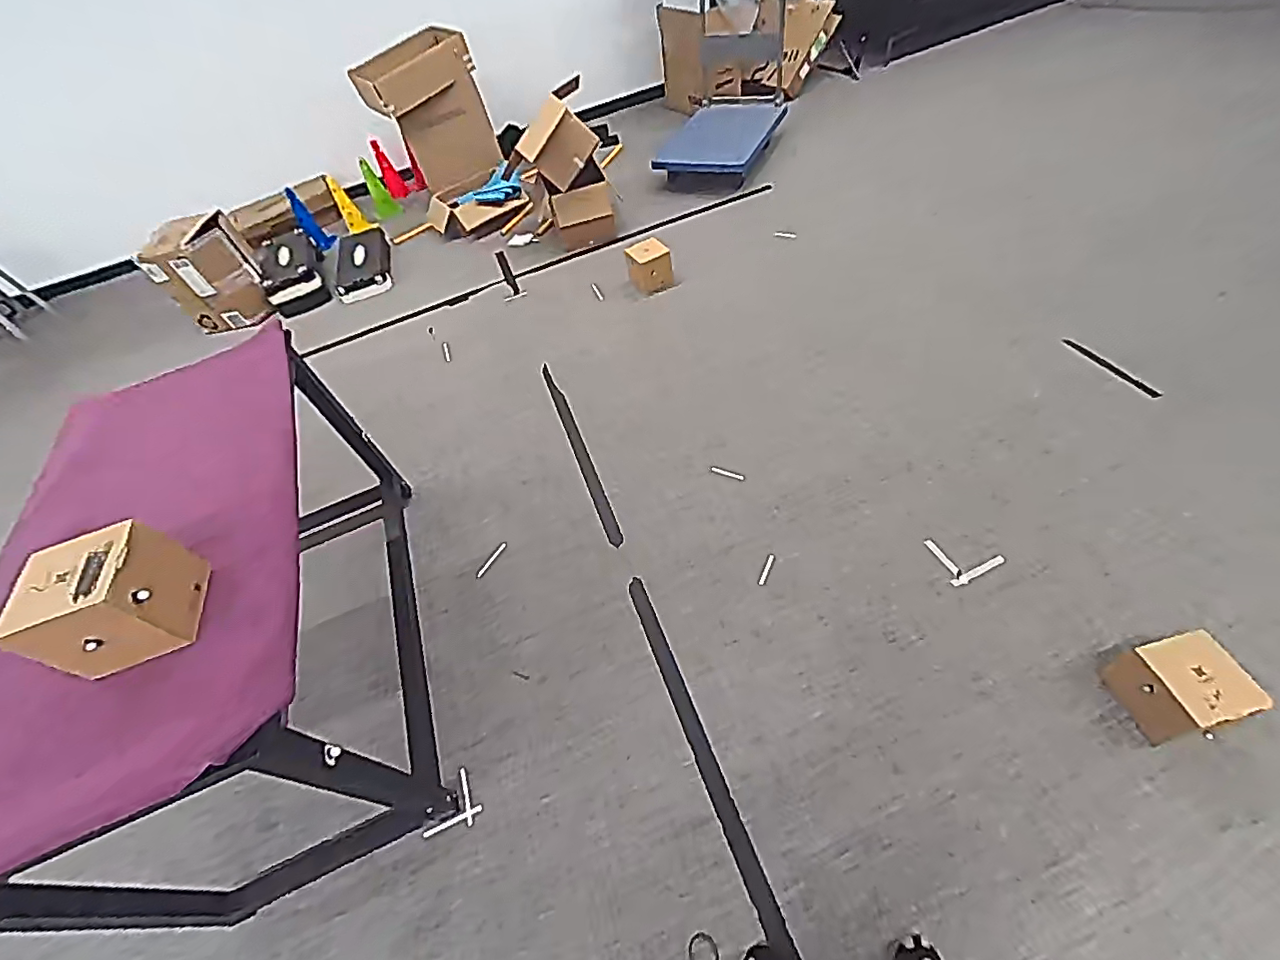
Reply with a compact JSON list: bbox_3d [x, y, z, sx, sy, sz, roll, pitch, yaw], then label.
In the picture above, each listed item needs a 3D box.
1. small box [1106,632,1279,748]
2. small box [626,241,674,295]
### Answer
[{"bbox_3d":[1.207,0.470,1.204,0.168,0.176,0.179,-16,51,0],"label":"small box"},{"bbox_3d":[0.053,-1.039,2.664,0.168,0.176,0.179,-28,51,-10],"label":"small box"}]
